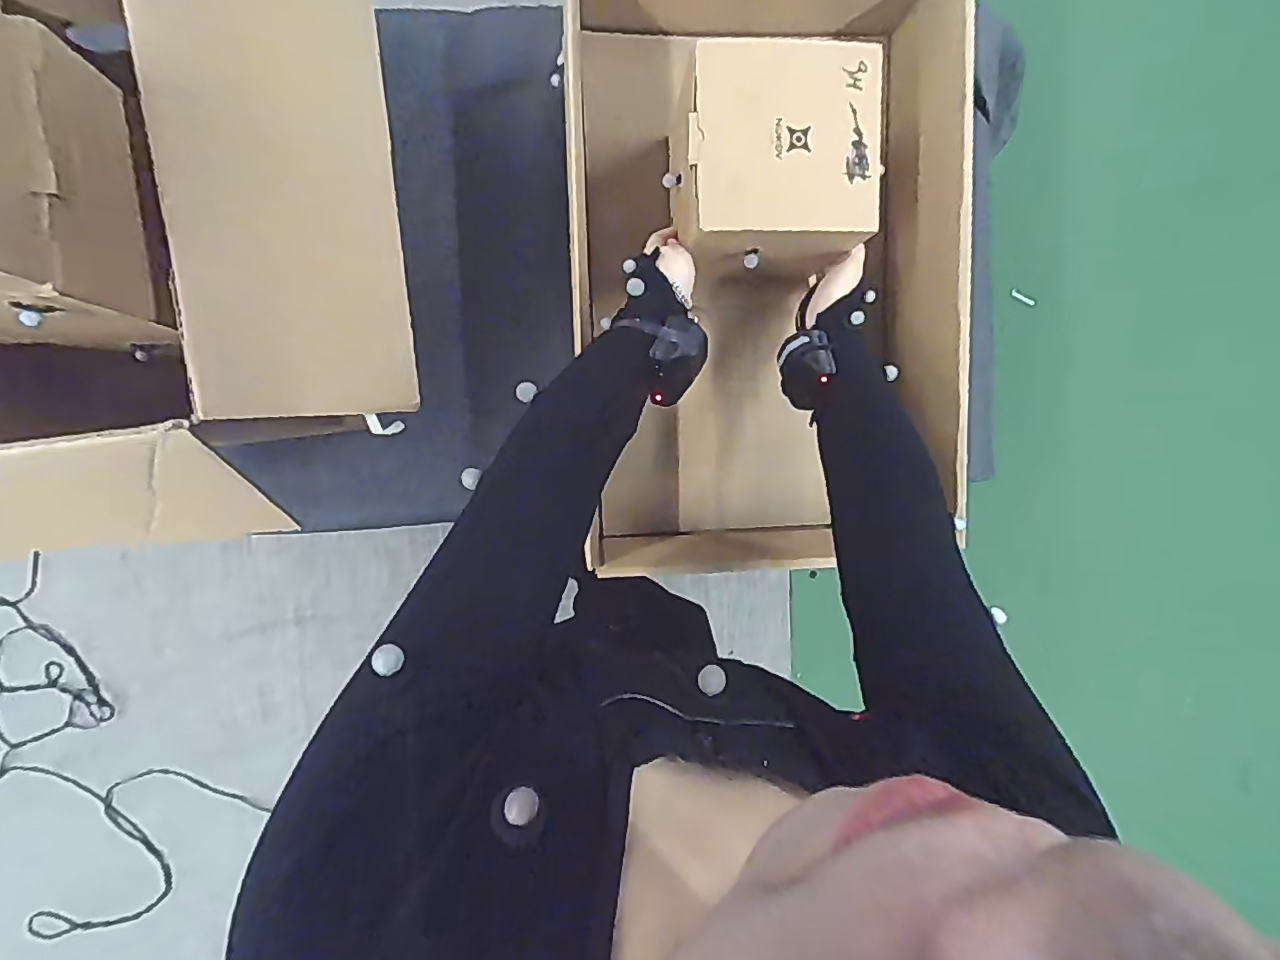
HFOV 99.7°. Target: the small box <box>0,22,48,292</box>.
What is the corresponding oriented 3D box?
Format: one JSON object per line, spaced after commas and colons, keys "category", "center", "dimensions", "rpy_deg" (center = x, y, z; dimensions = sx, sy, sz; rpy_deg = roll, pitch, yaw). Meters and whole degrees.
{"category": "small box", "center": [-0.435, -0.194, 0.238], "dimensions": [0.168, 0.176, 0.179], "rpy_deg": [-5, 95, -9]}
